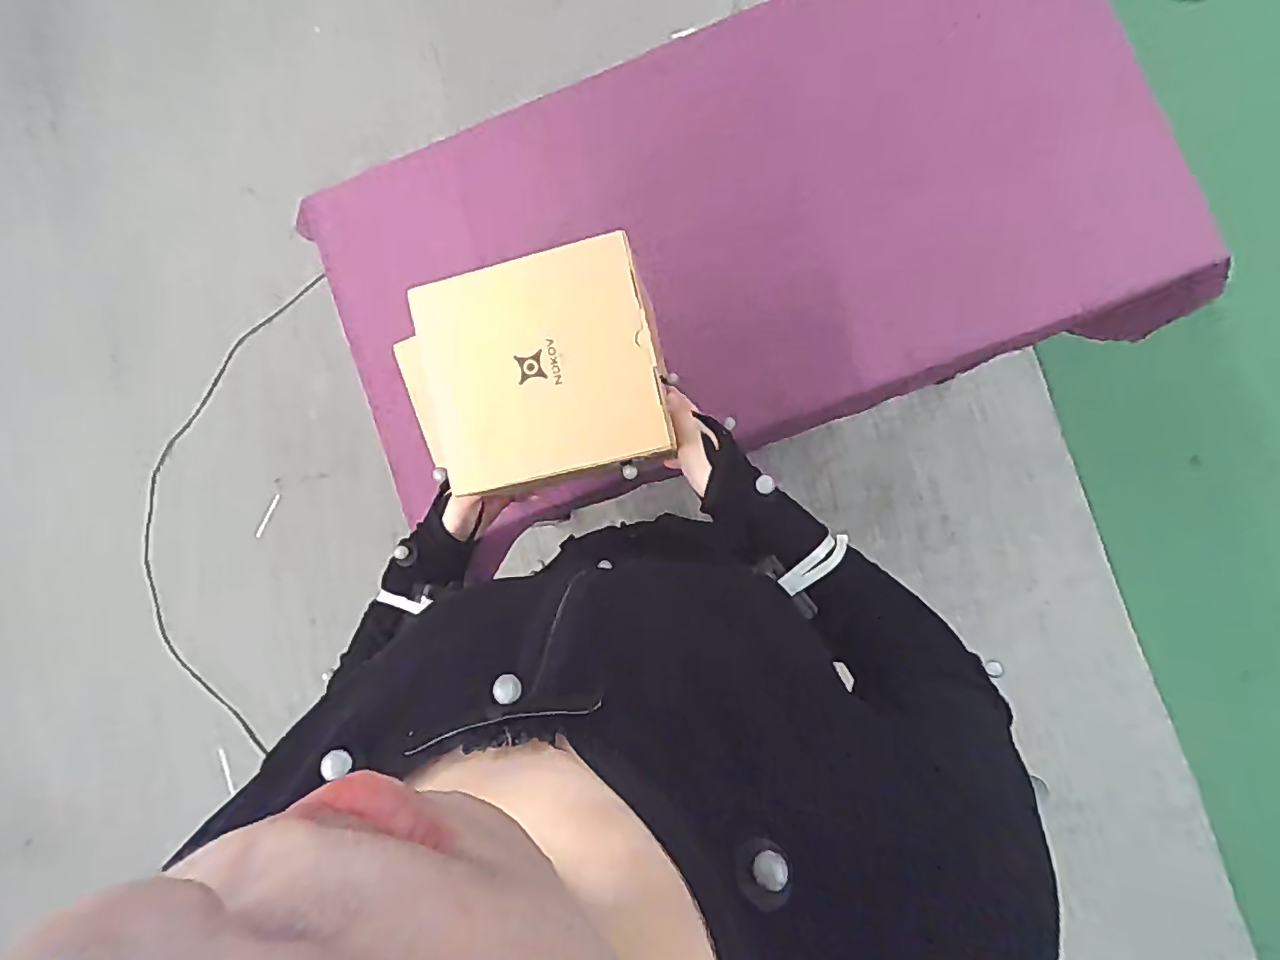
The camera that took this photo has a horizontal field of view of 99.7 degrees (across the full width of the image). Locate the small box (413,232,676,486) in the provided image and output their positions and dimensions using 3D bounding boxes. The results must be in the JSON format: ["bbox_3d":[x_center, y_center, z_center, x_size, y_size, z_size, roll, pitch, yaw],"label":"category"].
[{"bbox_3d":[-0.069,-0.089,0.488,0.179,0.176,0.168,-12,89,5],"label":"small box"}]

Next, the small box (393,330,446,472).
[{"bbox_3d":[-0.192,-0.115,0.732,0.168,0.176,0.179,-21,85,3],"label":"small box"}]
